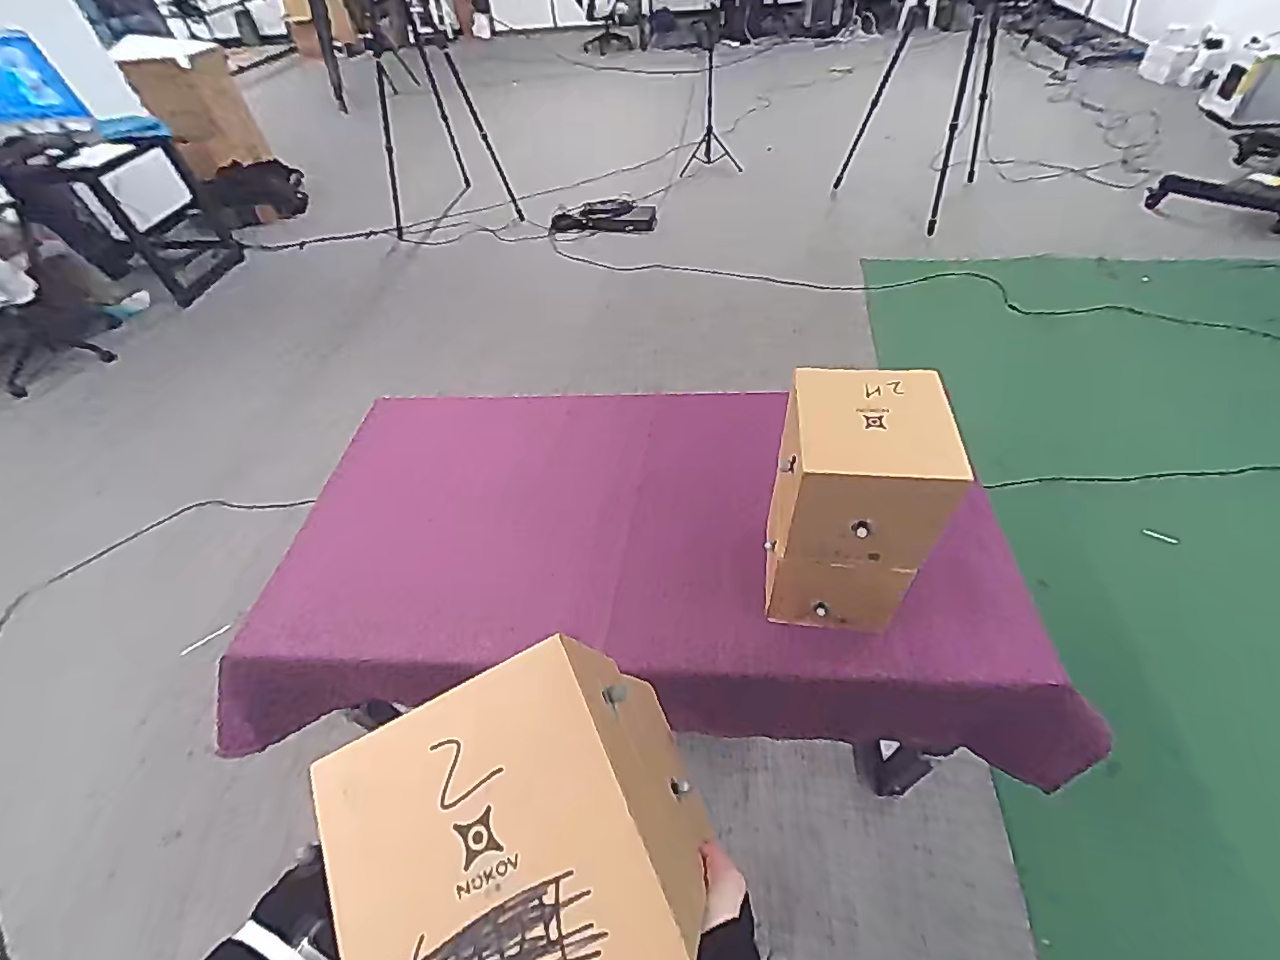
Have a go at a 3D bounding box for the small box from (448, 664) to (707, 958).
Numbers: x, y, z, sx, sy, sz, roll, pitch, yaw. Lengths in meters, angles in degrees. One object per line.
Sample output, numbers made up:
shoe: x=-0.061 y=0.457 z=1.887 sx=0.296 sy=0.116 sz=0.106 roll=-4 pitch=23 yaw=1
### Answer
small box: x=-0.049 y=0.295 z=0.518 sx=0.179 sy=0.176 sz=0.168 roll=-25 pitch=66 yaw=-1

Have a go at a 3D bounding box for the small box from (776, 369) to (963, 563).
small box: x=0.262 y=-0.015 z=0.665 sx=0.168 sy=0.176 sz=0.179 roll=3 pitch=49 yaw=8

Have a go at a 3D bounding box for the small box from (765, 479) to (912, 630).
small box: x=0.274 y=0.094 z=0.788 sx=0.168 sy=0.176 sz=0.179 roll=4 pitch=50 yaw=9
